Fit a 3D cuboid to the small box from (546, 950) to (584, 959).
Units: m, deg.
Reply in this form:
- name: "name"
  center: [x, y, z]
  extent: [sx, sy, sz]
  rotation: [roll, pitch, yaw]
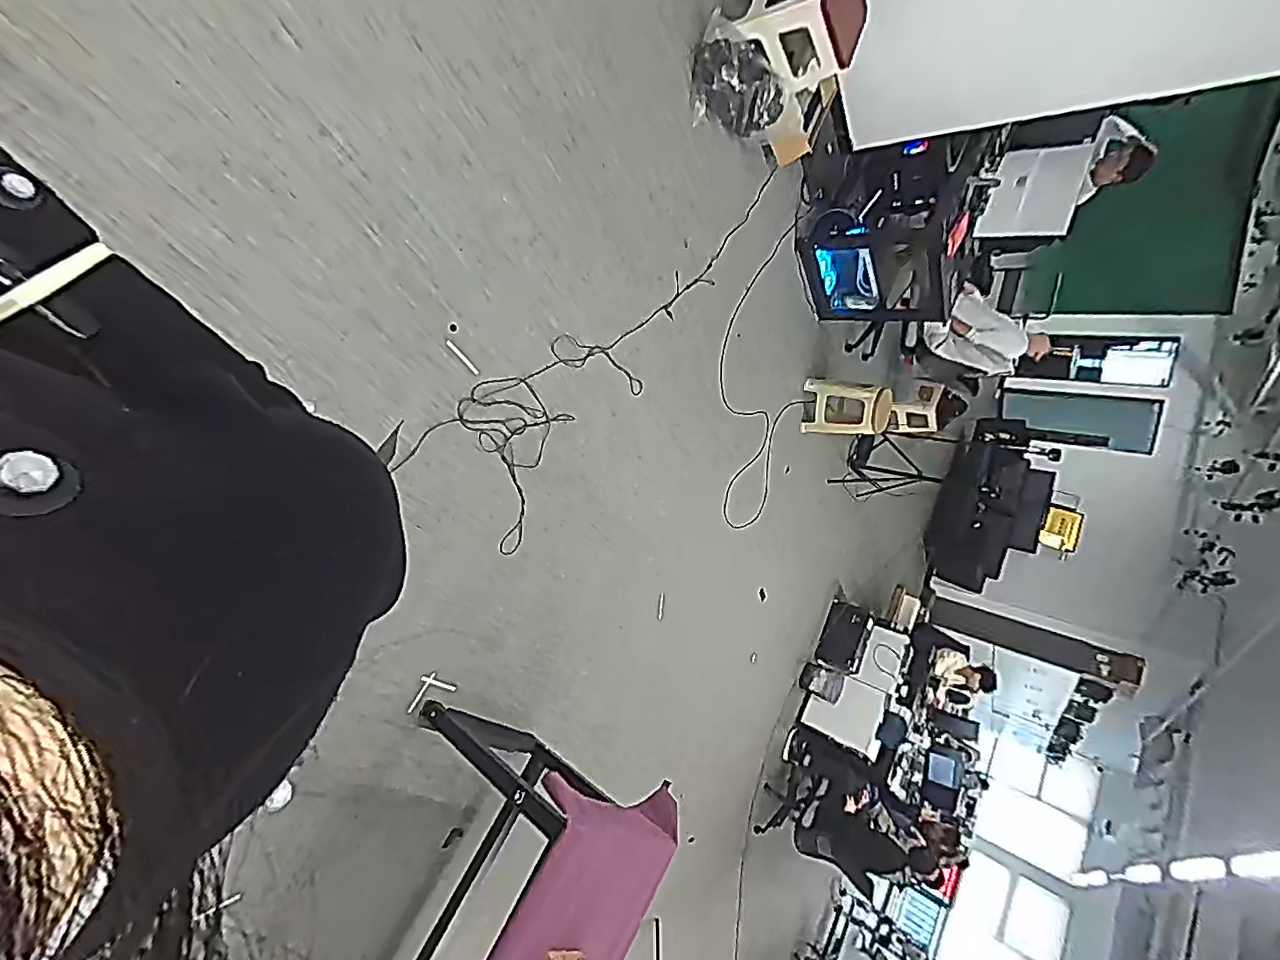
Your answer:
- name: "small box"
  center: [-0.173, 1.290, 1.301]
  extent: [0.179, 0.176, 0.168]
  rotation: [-57, 138, -21]
